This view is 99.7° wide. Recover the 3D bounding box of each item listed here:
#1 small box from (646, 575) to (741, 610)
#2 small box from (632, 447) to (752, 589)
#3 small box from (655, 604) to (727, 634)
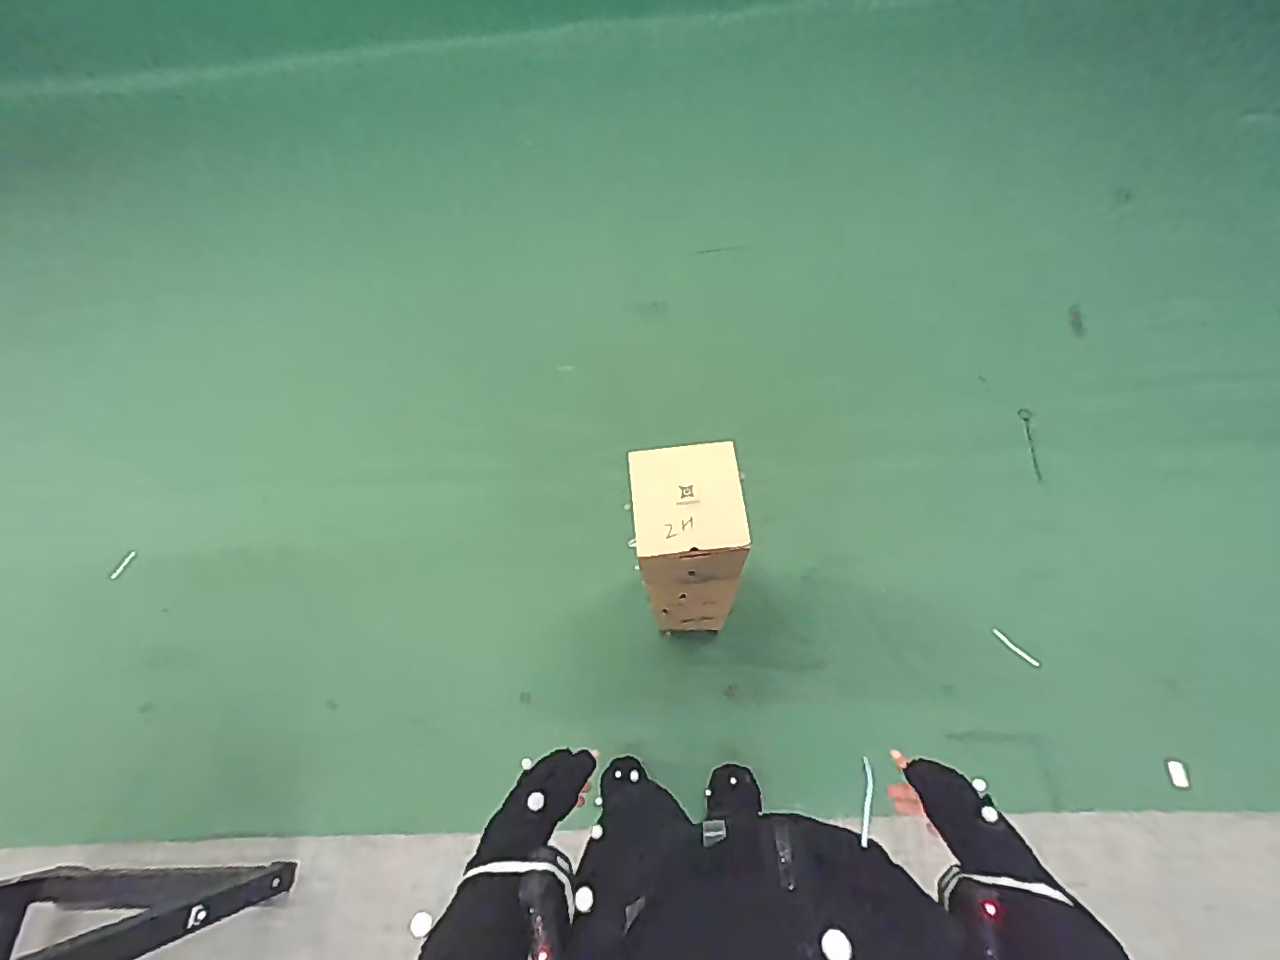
[{"bbox_3d":[0.091,0.139,1.033,0.168,0.176,0.179,-6,65,2],"label":"small box"},{"bbox_3d":[0.078,0.067,0.886,0.168,0.176,0.179,-7,65,2],"label":"small box"},{"bbox_3d":[0.122,0.281,1.326,0.168,0.176,0.179,-3,65,4],"label":"small box"}]
